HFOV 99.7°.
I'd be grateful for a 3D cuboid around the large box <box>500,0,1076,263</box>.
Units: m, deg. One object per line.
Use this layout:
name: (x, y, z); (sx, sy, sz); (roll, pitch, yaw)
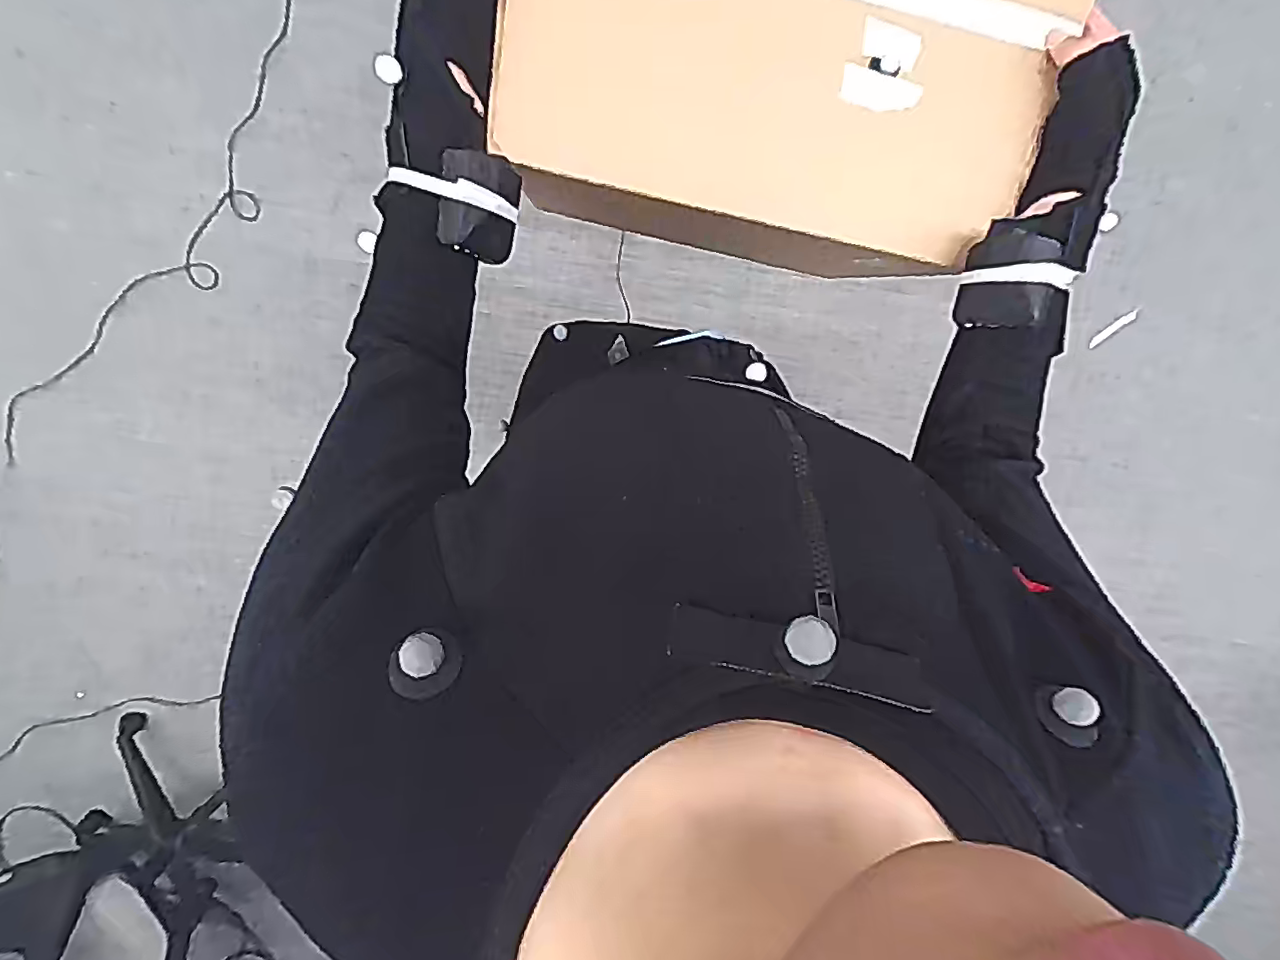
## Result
large box: (0.102, -0.407, 0.512); (0.408, 0.320, 0.320); (9, 110, -9)
